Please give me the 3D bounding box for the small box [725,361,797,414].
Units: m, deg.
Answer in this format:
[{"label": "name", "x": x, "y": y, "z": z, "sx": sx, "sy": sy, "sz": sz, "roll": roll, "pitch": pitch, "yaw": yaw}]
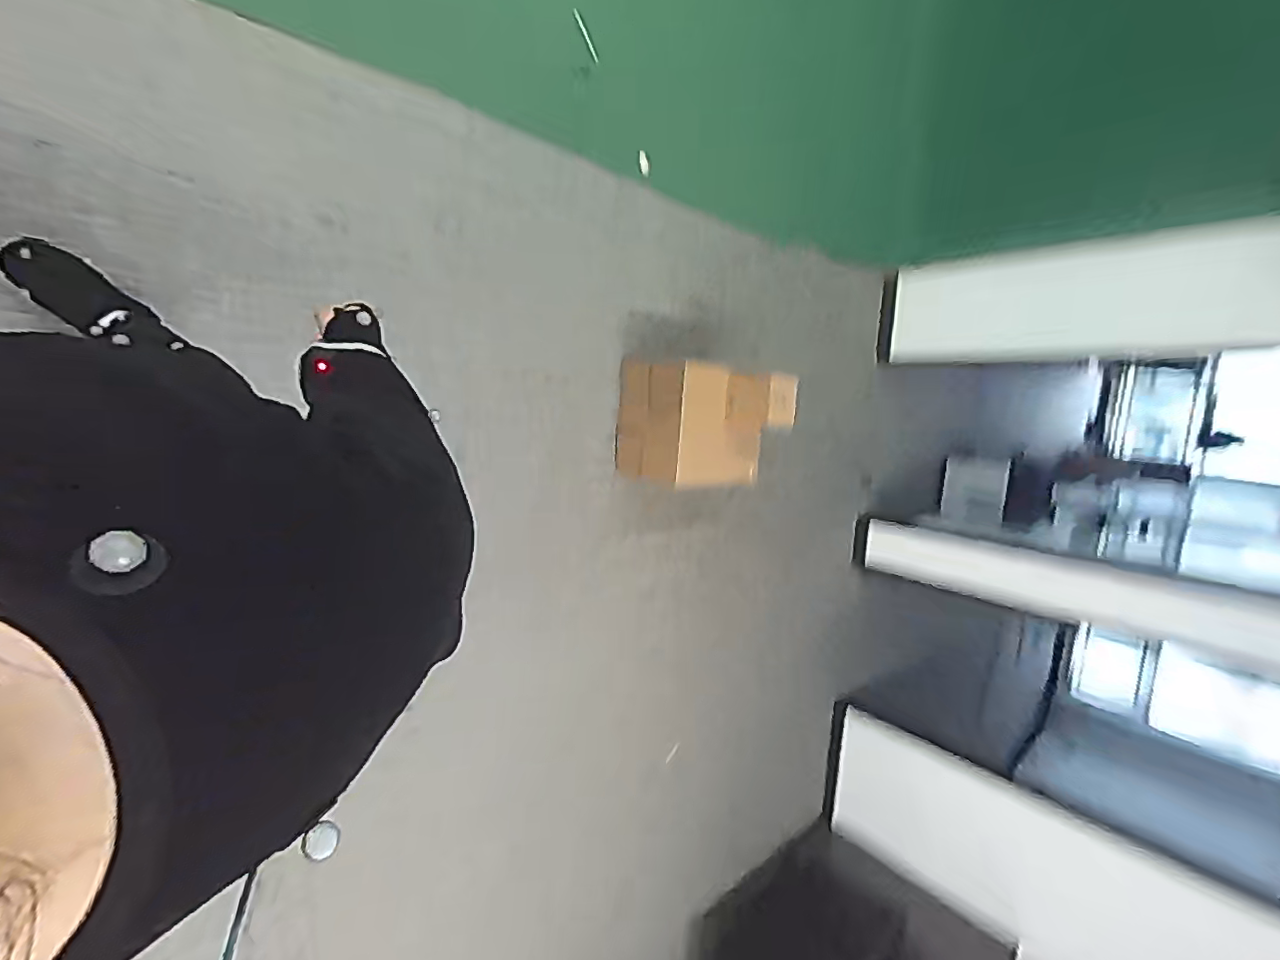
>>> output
[{"label": "small box", "x": 0.415, "y": -0.316, "z": 1.856, "sx": 0.179, "sy": 0.176, "sz": 0.168, "roll": -5, "pitch": 101, "yaw": -45}]
